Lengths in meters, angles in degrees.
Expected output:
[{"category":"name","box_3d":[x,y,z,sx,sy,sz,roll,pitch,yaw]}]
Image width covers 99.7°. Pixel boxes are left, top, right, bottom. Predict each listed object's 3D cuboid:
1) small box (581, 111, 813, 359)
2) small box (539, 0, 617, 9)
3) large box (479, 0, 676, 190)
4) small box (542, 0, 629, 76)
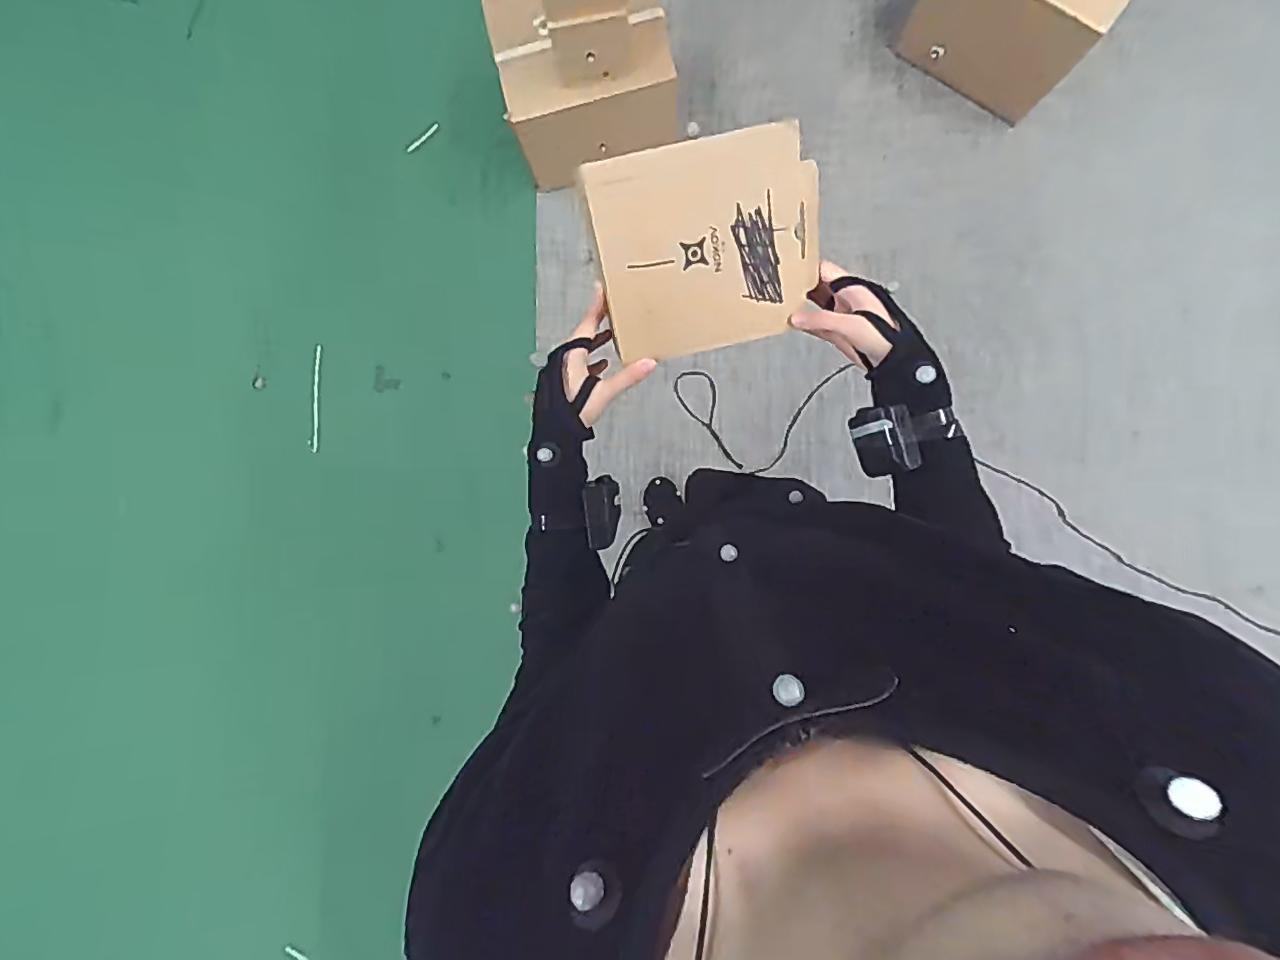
[{"category":"small box","box_3d":[0.047,-0.231,0.515,0.179,0.176,0.168,-12,118,-1]},{"category":"small box","box_3d":[-0.121,-1.009,0.983,0.179,0.176,0.168,-7,89,2]},{"category":"large box","box_3d":[-0.138,-1.021,1.392,0.408,0.320,0.320,-14,88,4]},{"category":"small box","box_3d":[-0.117,-1.000,1.145,0.168,0.176,0.179,-8,89,2]}]
